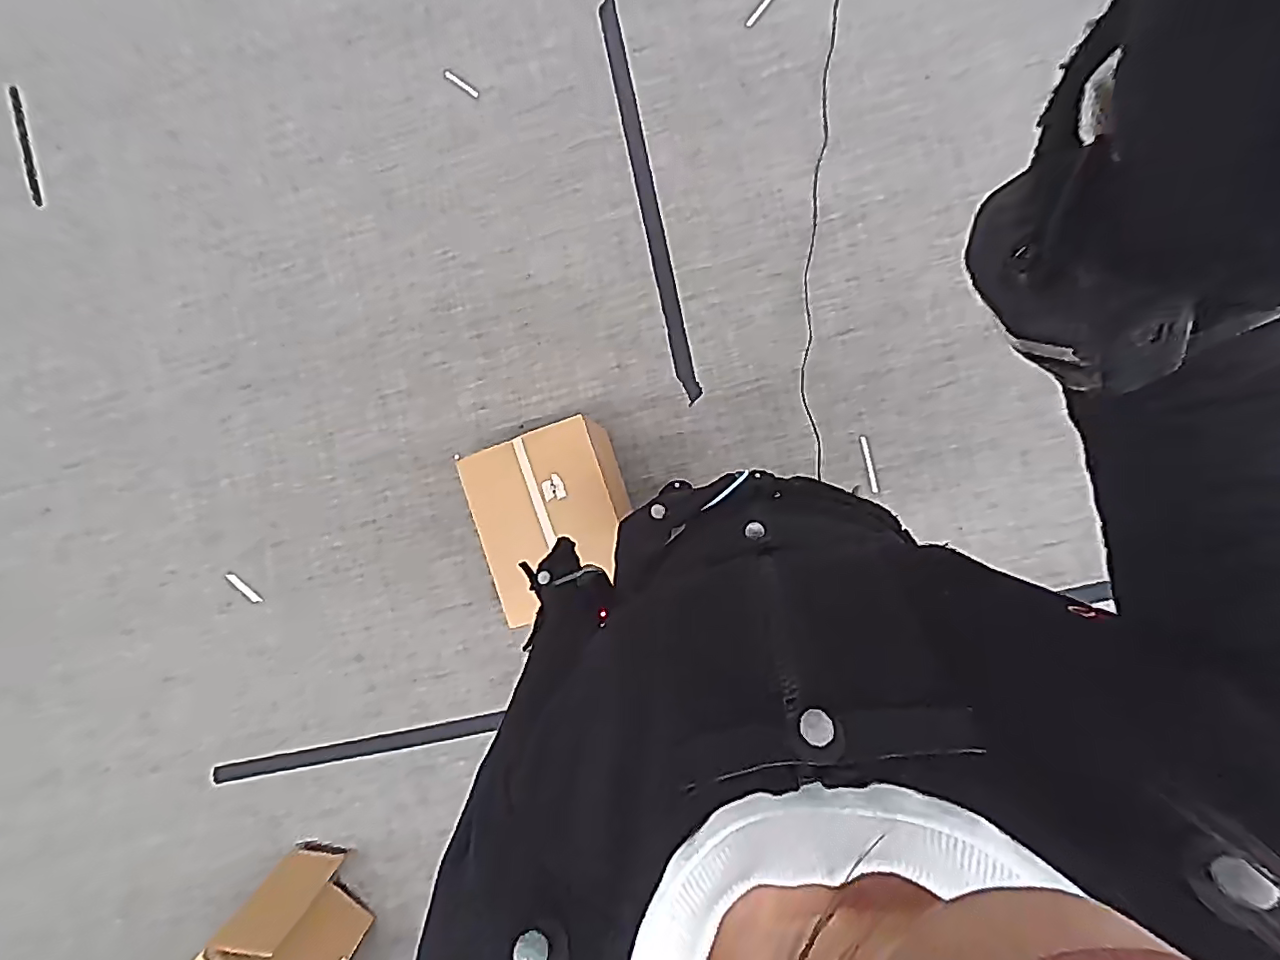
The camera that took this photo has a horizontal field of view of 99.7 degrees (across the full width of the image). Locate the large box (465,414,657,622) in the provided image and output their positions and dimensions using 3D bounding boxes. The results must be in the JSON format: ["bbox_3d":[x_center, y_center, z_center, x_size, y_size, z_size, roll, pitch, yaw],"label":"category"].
[{"bbox_3d":[-0.178,0.091,1.363,0.320,0.320,0.408,-19,86,6],"label":"large box"}]
